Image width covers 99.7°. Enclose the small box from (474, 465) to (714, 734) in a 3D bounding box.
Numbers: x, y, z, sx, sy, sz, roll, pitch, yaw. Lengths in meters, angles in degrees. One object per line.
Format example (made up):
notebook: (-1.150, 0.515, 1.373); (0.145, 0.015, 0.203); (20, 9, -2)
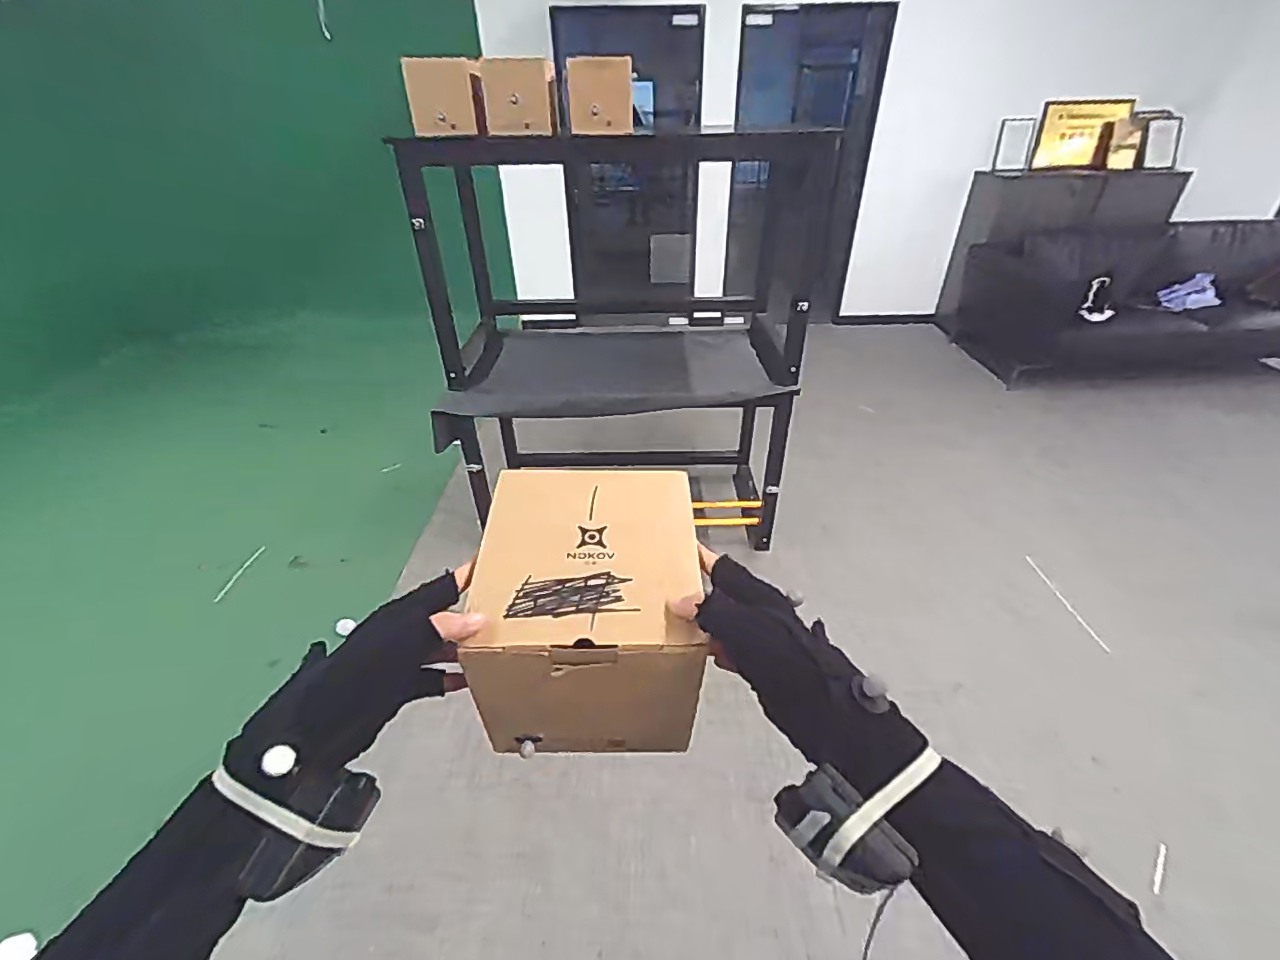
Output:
small box: (-0.032, 0.105, 0.473); (0.168, 0.176, 0.179); (0, 41, -2)
